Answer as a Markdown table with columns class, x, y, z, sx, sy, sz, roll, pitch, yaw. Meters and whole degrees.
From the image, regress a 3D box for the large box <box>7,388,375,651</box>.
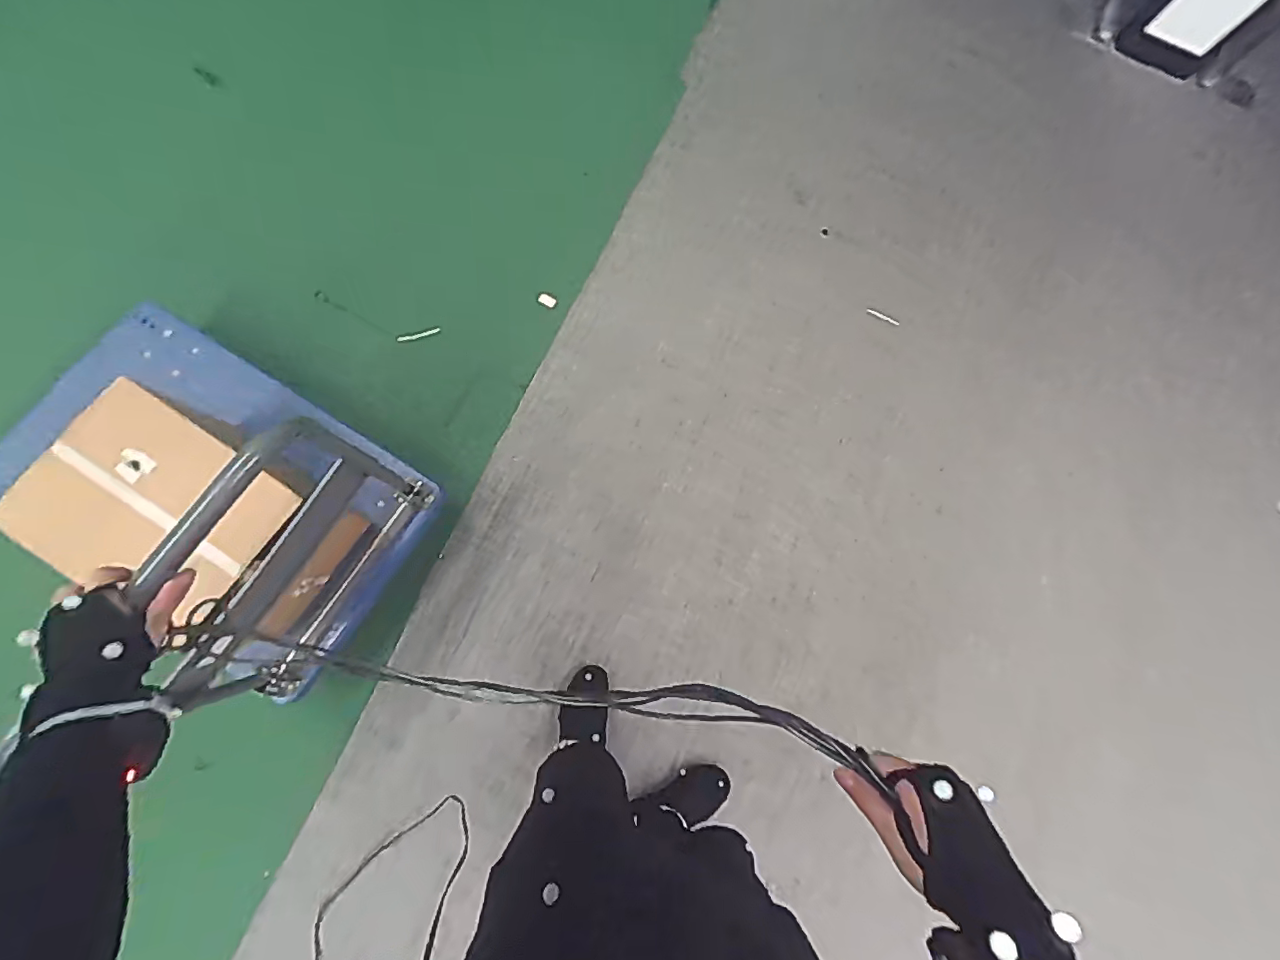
| class | x | y | z | sx | sy | sz | roll | pitch | yaw |
| --- | --- | --- | --- | --- | --- | --- | --- | --- | --- |
| large box | -0.843 | 0.090 | 1.087 | 0.408 | 0.320 | 0.320 | 34 | 77 | 3 |
